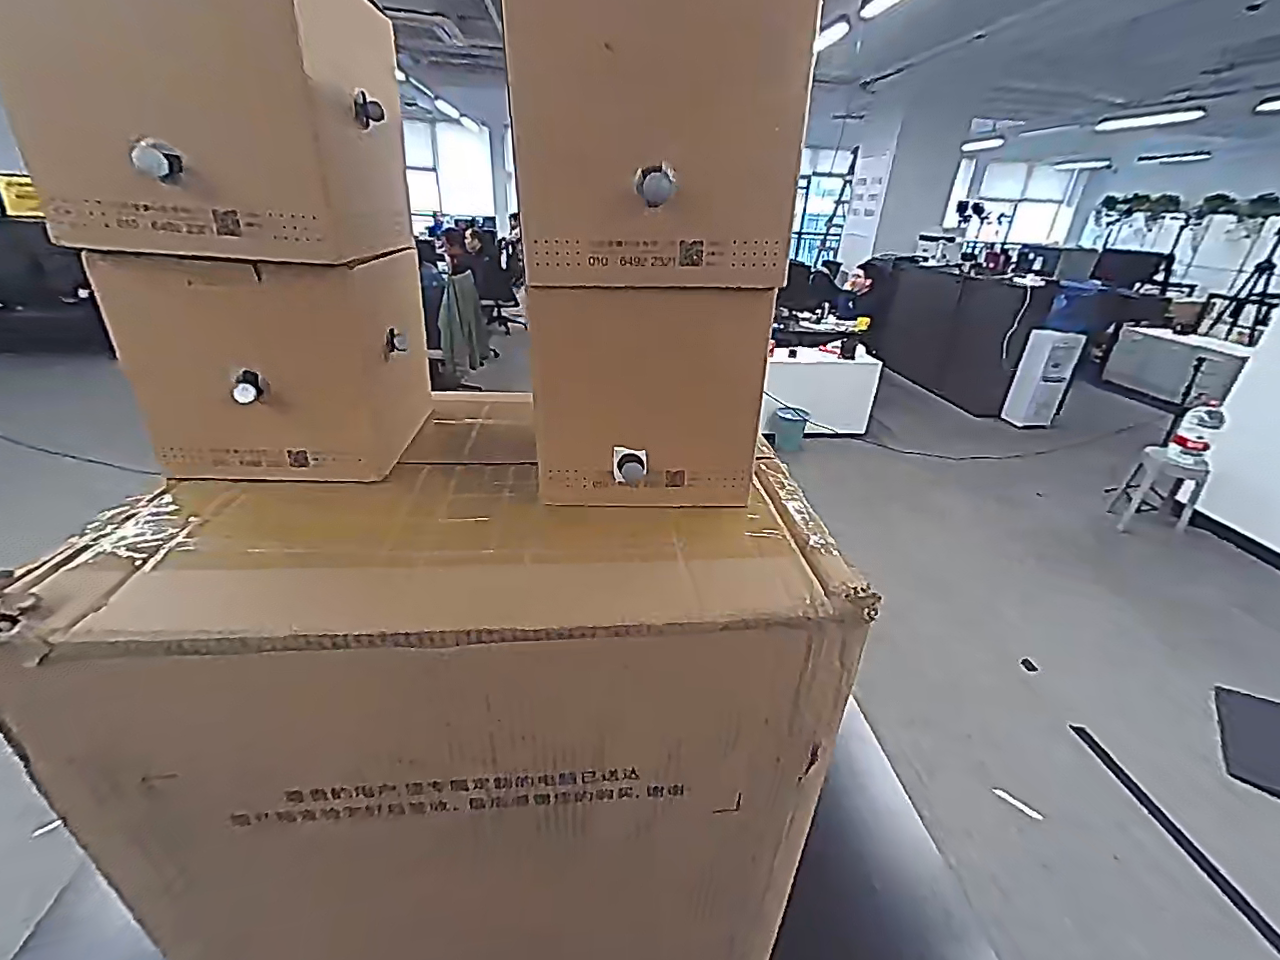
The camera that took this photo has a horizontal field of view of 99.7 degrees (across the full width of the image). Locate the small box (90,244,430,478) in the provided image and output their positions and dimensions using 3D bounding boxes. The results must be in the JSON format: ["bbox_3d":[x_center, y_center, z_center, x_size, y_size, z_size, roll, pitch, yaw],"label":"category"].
[{"bbox_3d":[-0.290,-0.111,0.469,0.168,0.176,0.179,1,27,-8],"label":"small box"}]

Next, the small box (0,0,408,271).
[{"bbox_3d":[-0.274,-0.250,0.380,0.168,0.176,0.179,1,27,-6],"label":"small box"}]

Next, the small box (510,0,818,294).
[{"bbox_3d":[0.009,-0.233,0.380,0.168,0.176,0.179,0,28,-1],"label":"small box"}]

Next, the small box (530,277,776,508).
[{"bbox_3d":[0.004,-0.090,0.463,0.168,0.176,0.179,-1,29,-3],"label":"small box"}]
